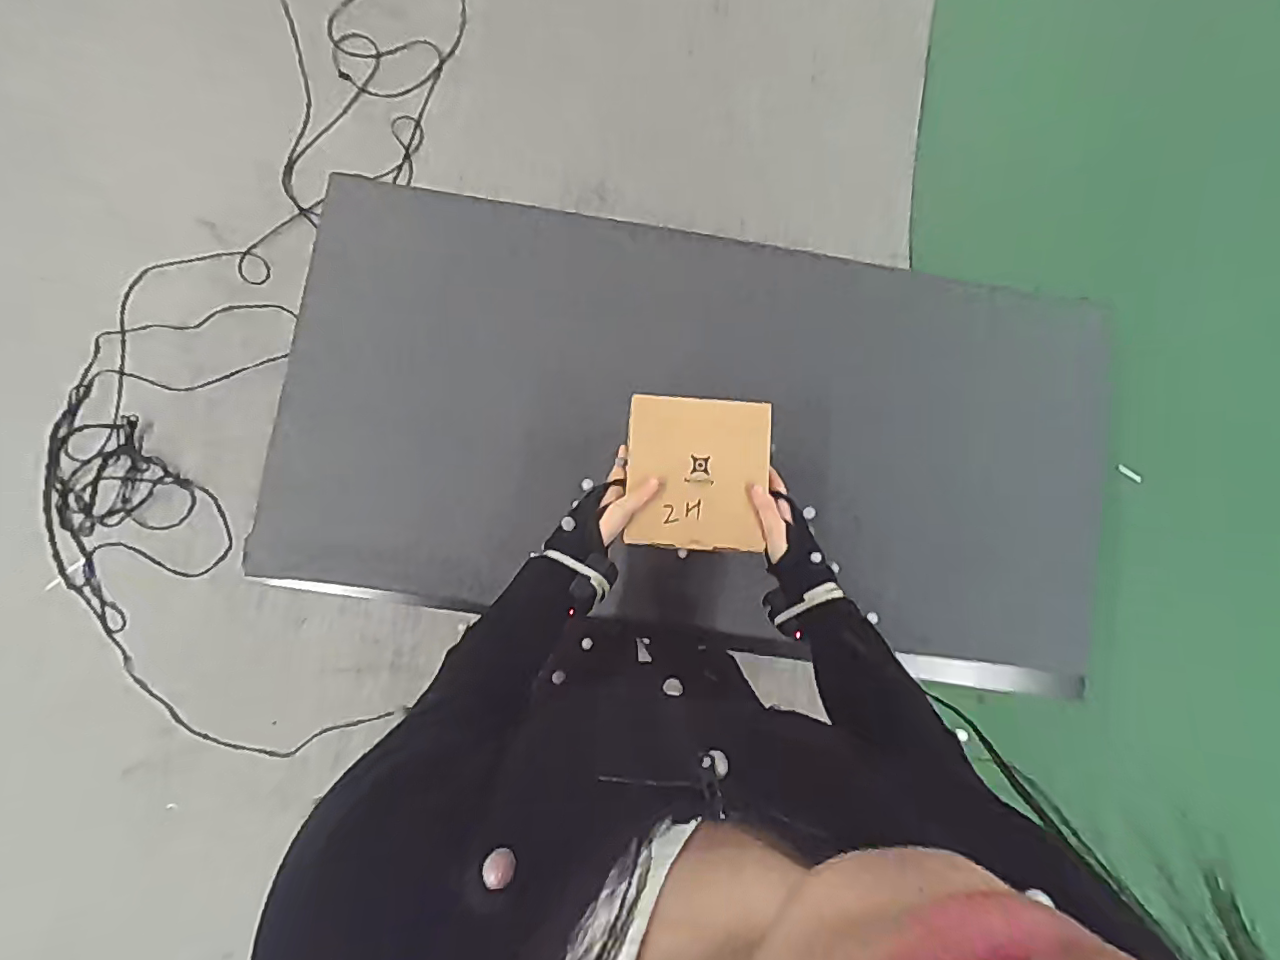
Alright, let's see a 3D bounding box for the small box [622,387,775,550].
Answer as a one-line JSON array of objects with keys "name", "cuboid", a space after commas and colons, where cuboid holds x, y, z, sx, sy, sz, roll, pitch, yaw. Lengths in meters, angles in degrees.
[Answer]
[{"name": "small box", "cuboid": [0.065, -0.005, 0.684, 0.168, 0.176, 0.179, 3, 84, -1]}]
